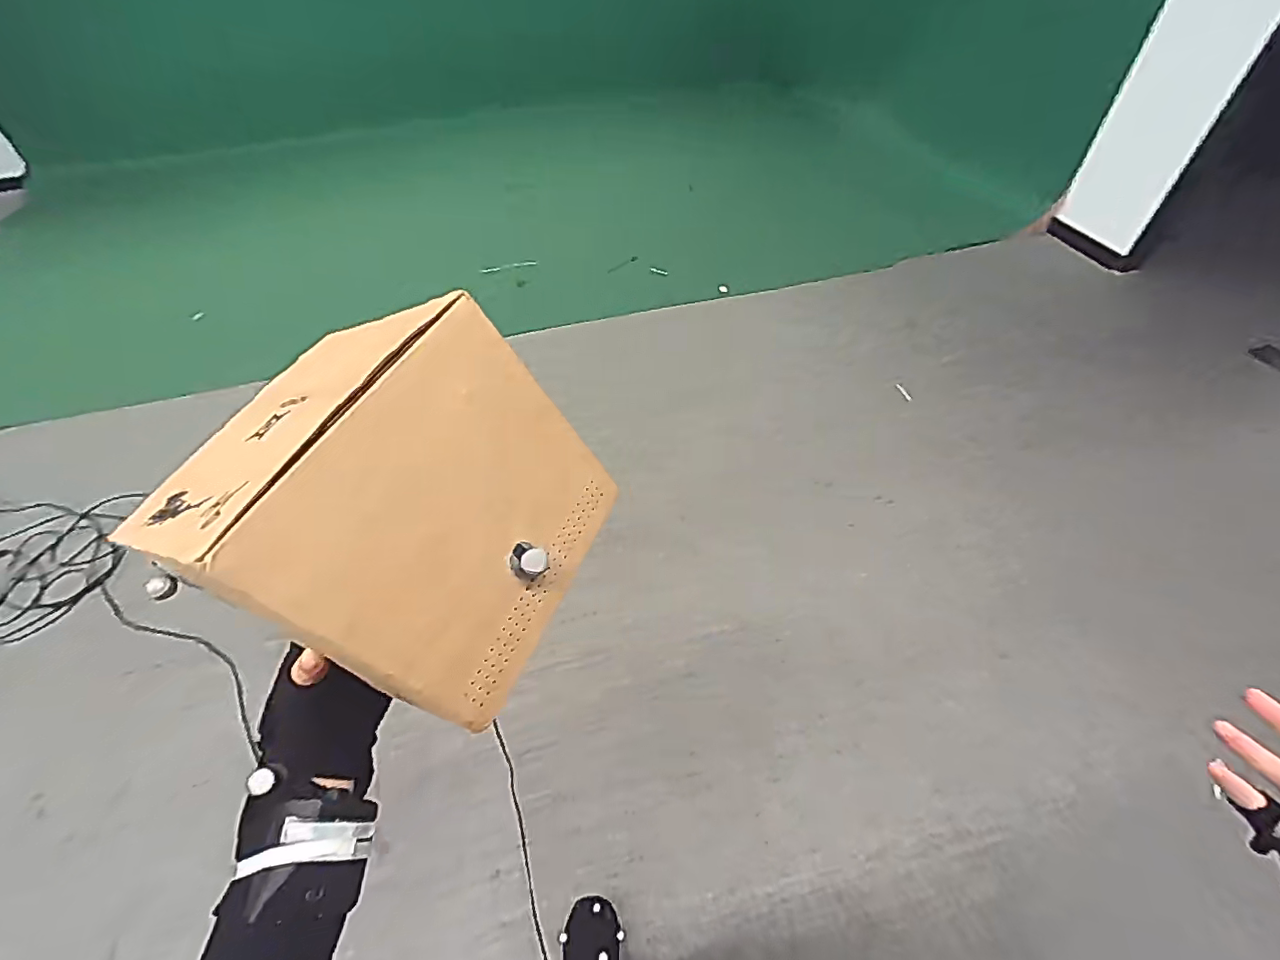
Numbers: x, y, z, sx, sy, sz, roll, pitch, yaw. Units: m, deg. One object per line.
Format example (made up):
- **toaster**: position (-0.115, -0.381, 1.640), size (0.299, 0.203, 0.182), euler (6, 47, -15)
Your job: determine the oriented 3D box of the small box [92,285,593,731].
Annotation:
- **small box**: position (-0.153, 0.017, 0.328), size (0.168, 0.176, 0.179), euler (-1, 49, 38)
